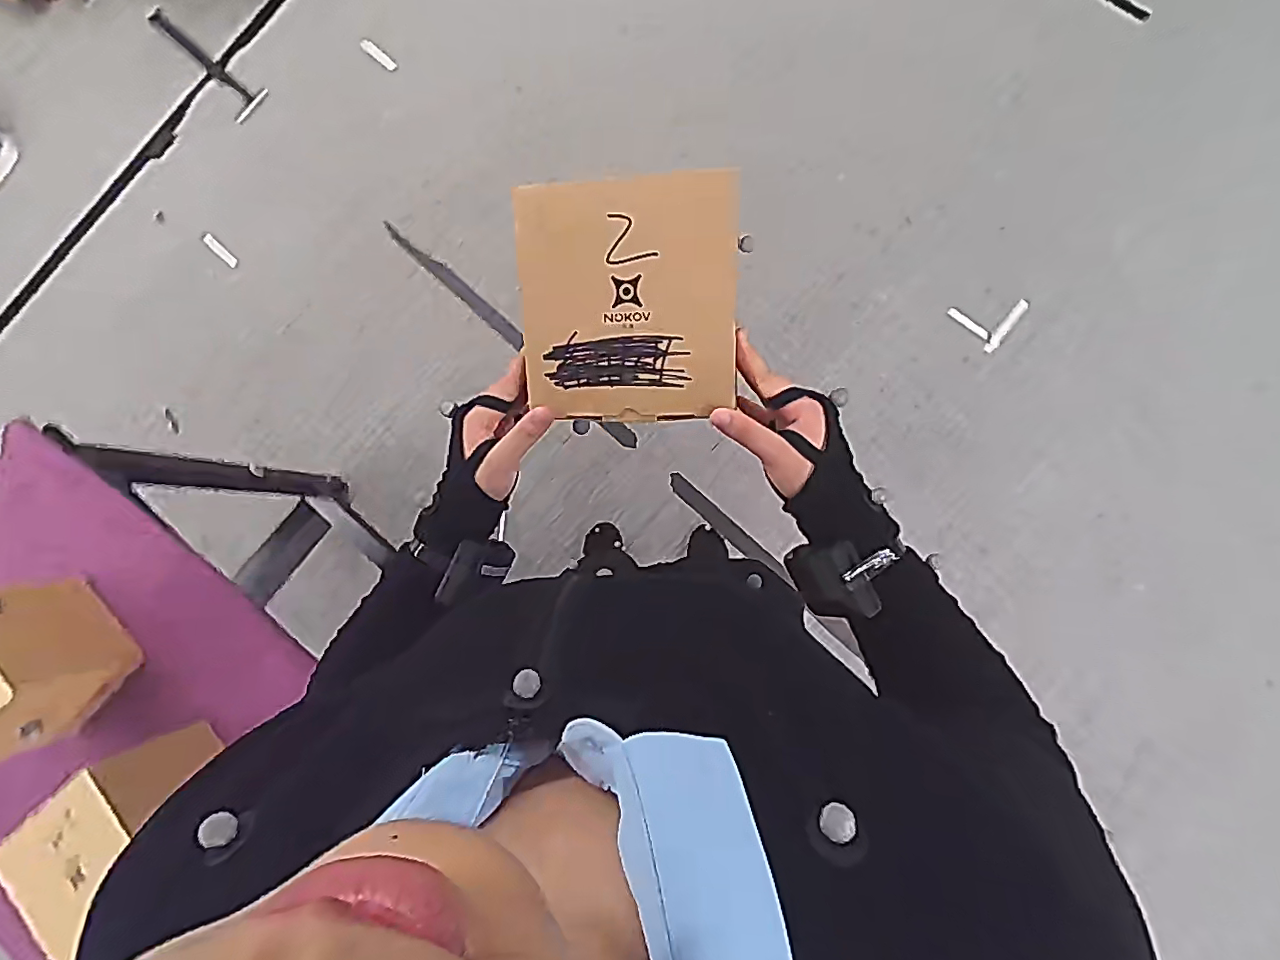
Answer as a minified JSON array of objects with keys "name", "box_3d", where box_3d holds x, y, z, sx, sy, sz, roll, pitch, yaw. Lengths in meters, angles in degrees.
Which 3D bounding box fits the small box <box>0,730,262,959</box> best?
[{"name":"small box","box_3d":[-0.660,0.471,0.714,0.168,0.176,0.179,-42,82,0]}]

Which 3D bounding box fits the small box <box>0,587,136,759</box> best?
[{"name":"small box","box_3d":[-0.877,0.268,0.753,0.179,0.176,0.168,44,91,8]}]
